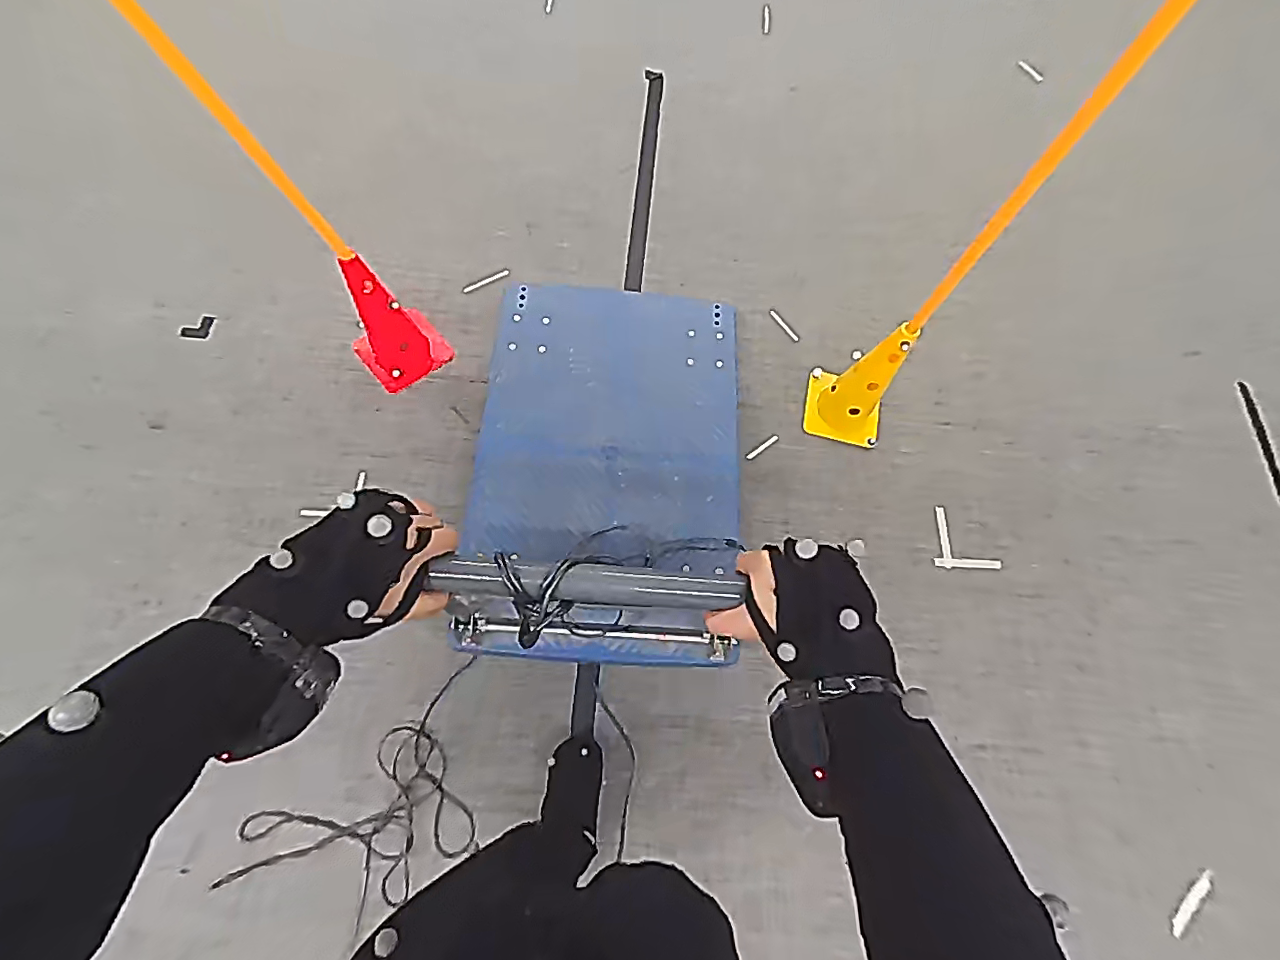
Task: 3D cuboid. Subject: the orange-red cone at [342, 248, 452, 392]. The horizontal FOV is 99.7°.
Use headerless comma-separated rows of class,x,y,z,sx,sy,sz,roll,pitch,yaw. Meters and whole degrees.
orange-red cone,-0.608,-0.401,1.272,0.199,0.360,0.198,-37,78,-17
